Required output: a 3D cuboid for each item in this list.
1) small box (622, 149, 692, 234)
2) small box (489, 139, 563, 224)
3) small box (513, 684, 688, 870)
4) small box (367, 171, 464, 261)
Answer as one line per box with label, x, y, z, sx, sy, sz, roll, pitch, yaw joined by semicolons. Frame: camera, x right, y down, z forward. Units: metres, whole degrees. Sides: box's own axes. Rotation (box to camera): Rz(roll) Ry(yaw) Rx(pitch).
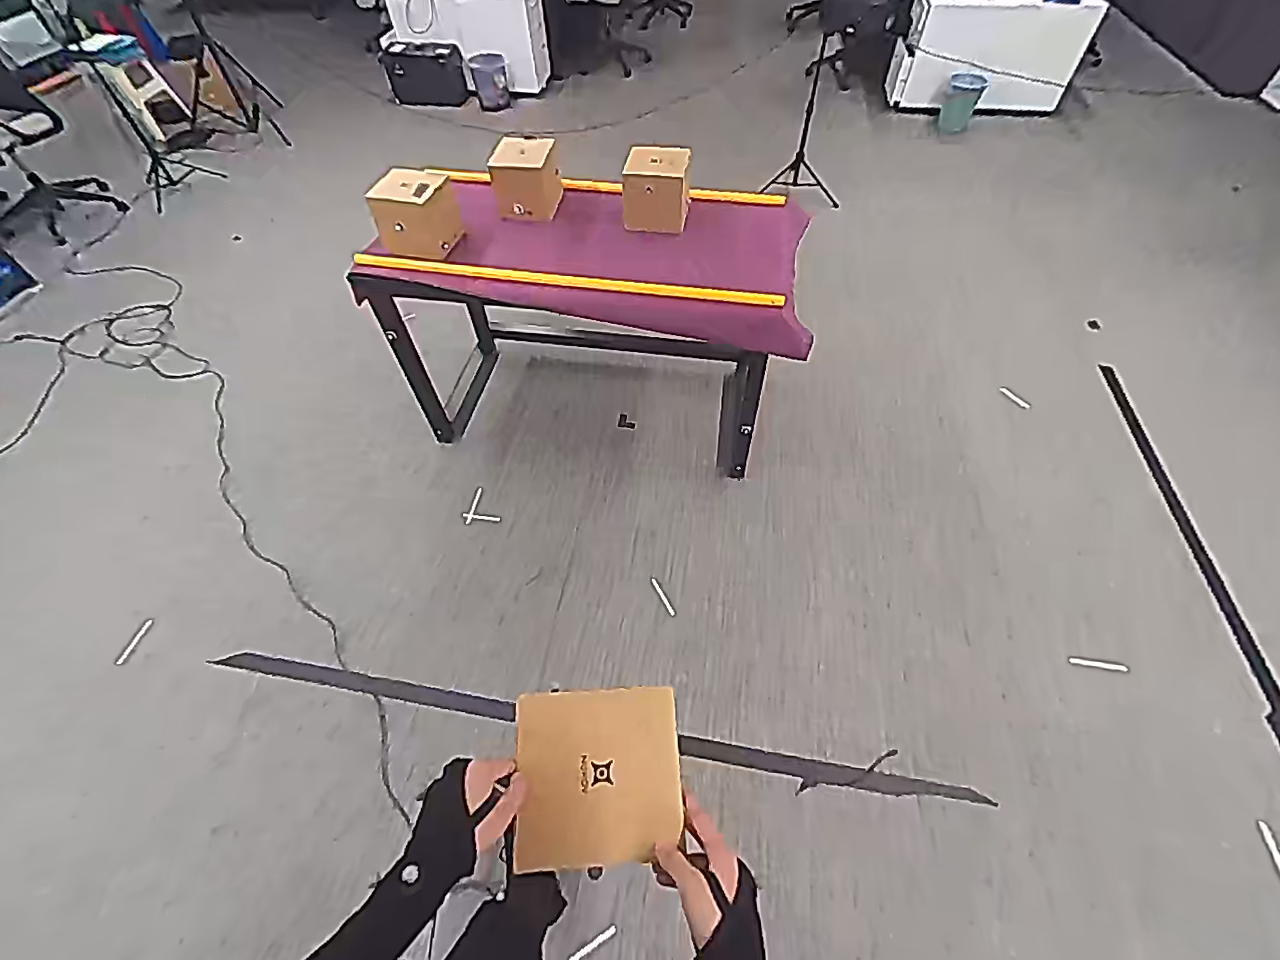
small box;0.053;-0.849;1.595;0.179;0.176;0.168;8;56;7
small box;-0.340;-0.911;1.653;0.168;0.176;0.179;5;55;6
small box;-0.045;0.335;0.639;0.179;0.176;0.168;-4;67;-2
small box;-0.626;-0.748;1.539;0.179;0.176;0.168;11;55;9
